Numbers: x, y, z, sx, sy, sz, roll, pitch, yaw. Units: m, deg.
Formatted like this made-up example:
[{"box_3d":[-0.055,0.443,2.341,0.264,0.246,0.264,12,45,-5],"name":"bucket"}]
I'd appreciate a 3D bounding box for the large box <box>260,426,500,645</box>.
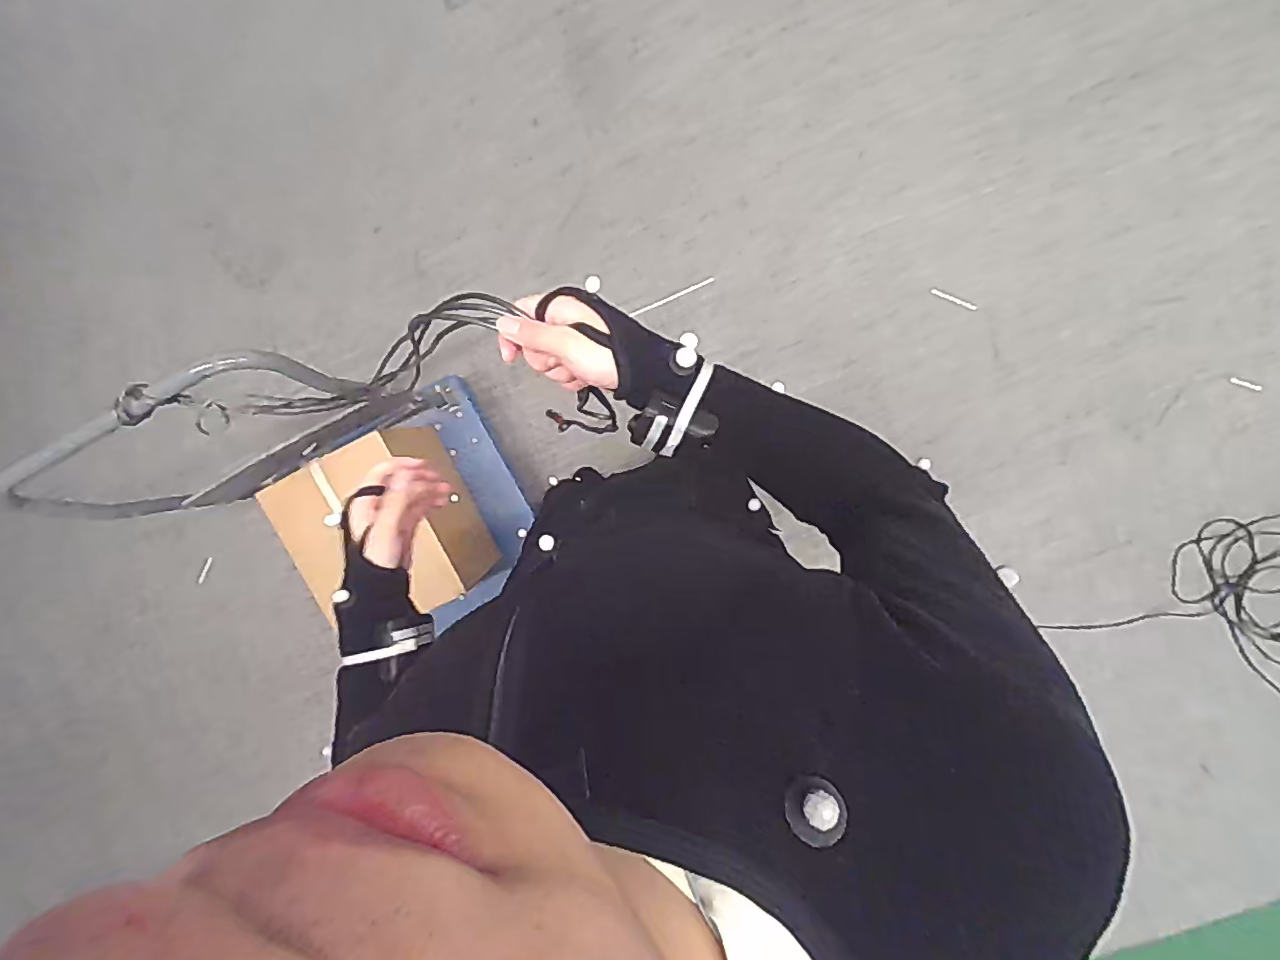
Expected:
[{"box_3d":[-0.602,0.112,1.331,0.320,0.320,0.408,-26,96,4],"name":"large box"}]
